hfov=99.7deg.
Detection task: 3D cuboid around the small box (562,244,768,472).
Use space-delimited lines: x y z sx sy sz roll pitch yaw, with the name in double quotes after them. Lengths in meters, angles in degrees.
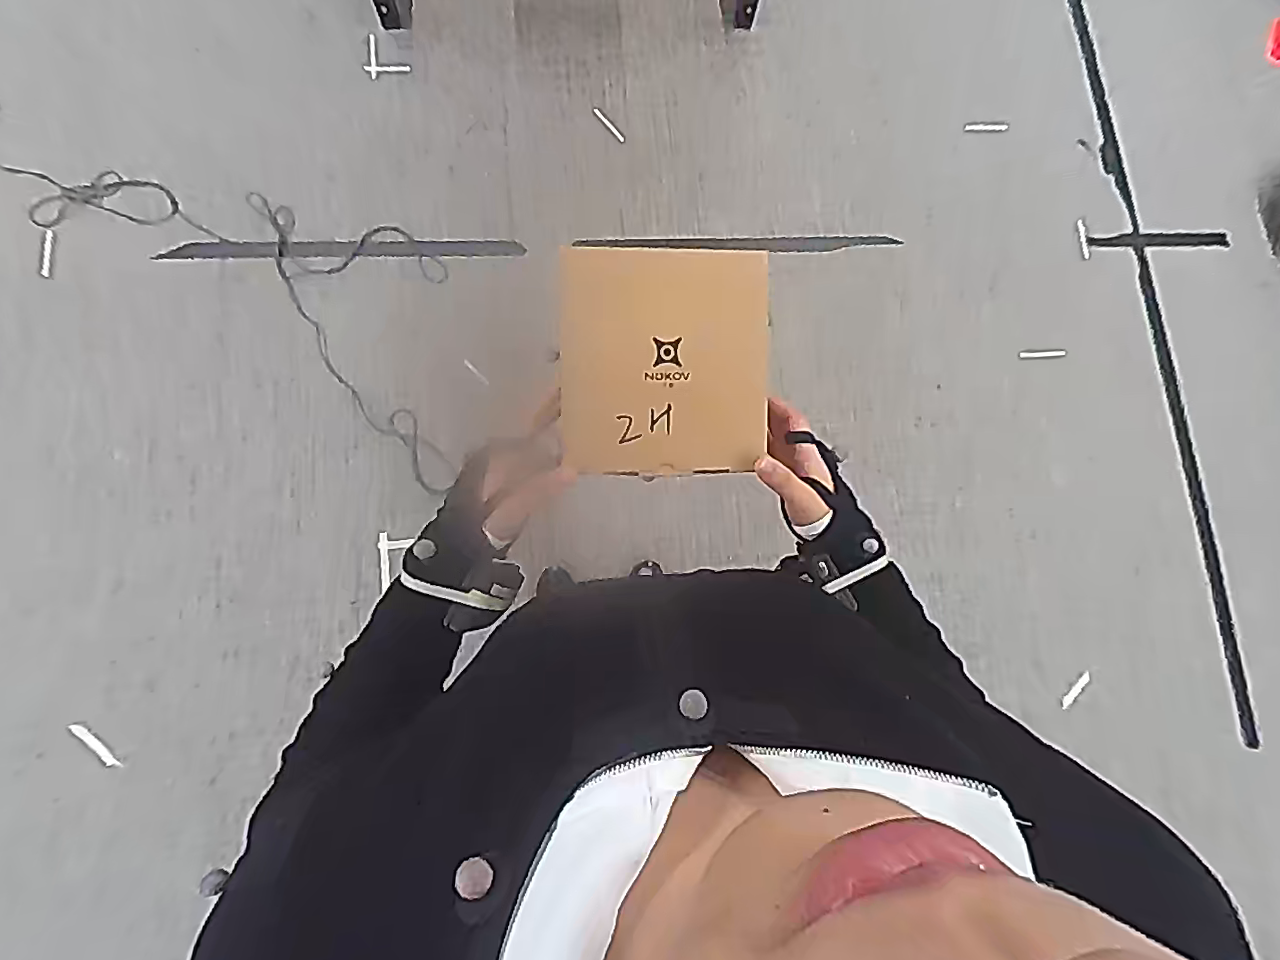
0.012 -0.099 0.503 0.168 0.176 0.179 -1 95 -6 "small box"
